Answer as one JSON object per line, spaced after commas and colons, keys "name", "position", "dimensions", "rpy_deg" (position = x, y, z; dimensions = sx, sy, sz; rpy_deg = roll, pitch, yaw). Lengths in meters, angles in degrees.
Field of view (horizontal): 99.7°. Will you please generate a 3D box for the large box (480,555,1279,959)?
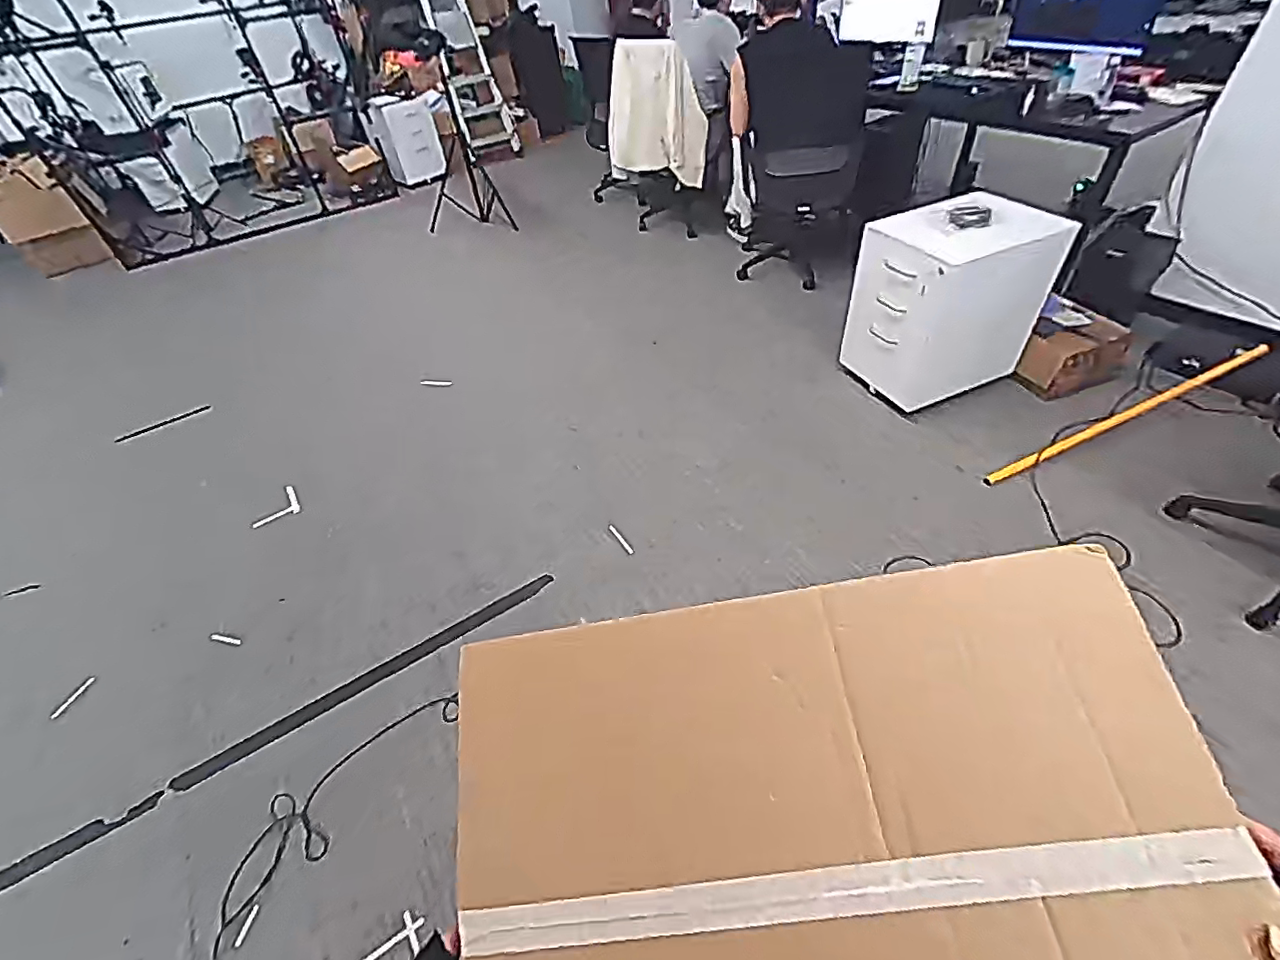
{"name": "large box", "position": [0.128, 0.281, 0.428], "dimensions": [0.408, 0.320, 0.320], "rpy_deg": [-11, 67, 7]}
